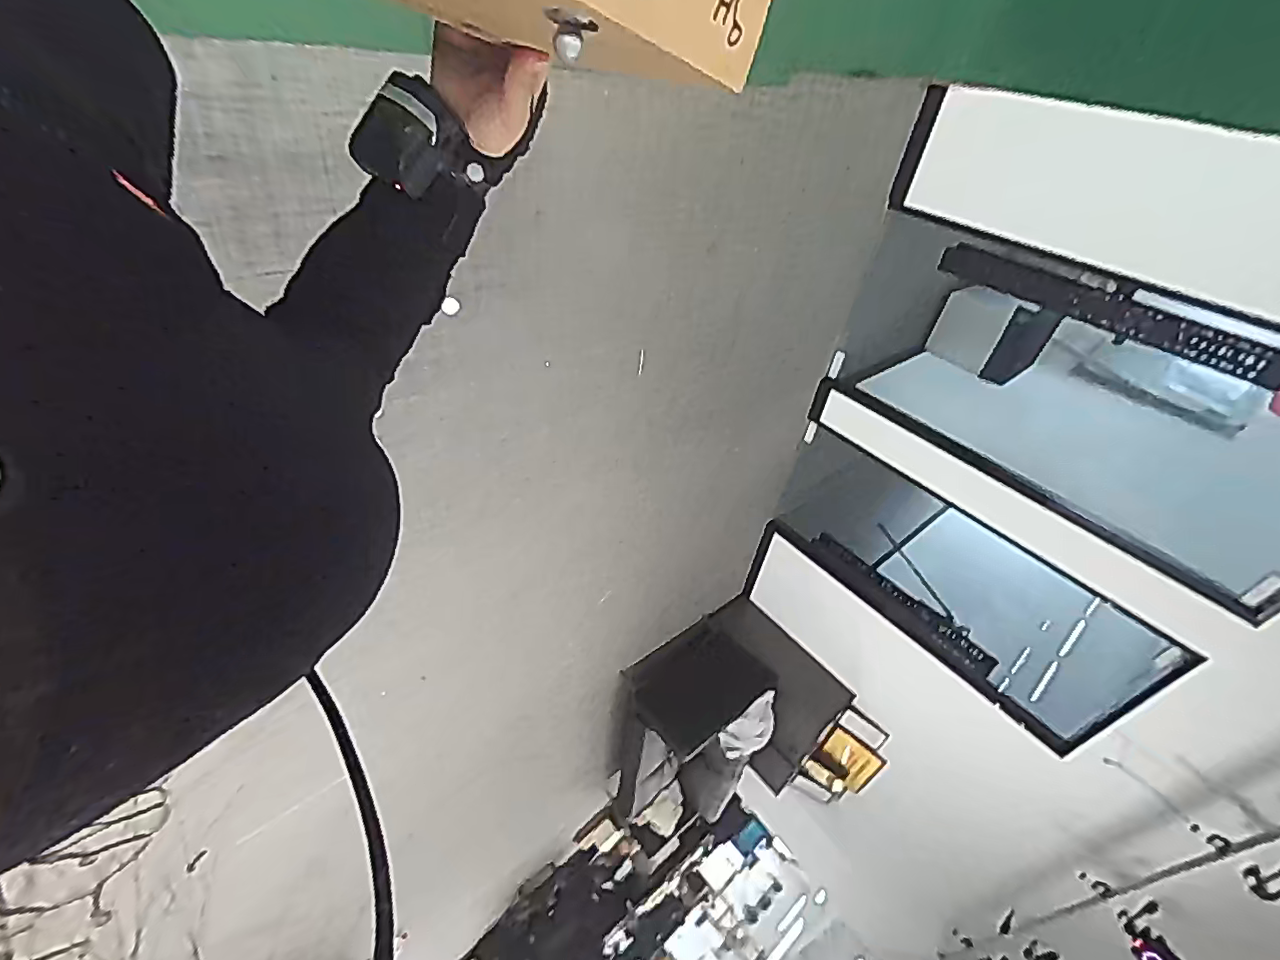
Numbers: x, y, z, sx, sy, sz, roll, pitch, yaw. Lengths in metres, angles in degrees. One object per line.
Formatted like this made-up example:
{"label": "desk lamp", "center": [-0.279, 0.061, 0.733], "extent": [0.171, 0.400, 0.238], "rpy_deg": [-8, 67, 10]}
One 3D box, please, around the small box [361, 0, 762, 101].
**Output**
{"label": "small box", "center": [-0.043, -0.291, 0.223], "extent": [0.168, 0.176, 0.179], "rpy_deg": [-21, 135, -48]}
